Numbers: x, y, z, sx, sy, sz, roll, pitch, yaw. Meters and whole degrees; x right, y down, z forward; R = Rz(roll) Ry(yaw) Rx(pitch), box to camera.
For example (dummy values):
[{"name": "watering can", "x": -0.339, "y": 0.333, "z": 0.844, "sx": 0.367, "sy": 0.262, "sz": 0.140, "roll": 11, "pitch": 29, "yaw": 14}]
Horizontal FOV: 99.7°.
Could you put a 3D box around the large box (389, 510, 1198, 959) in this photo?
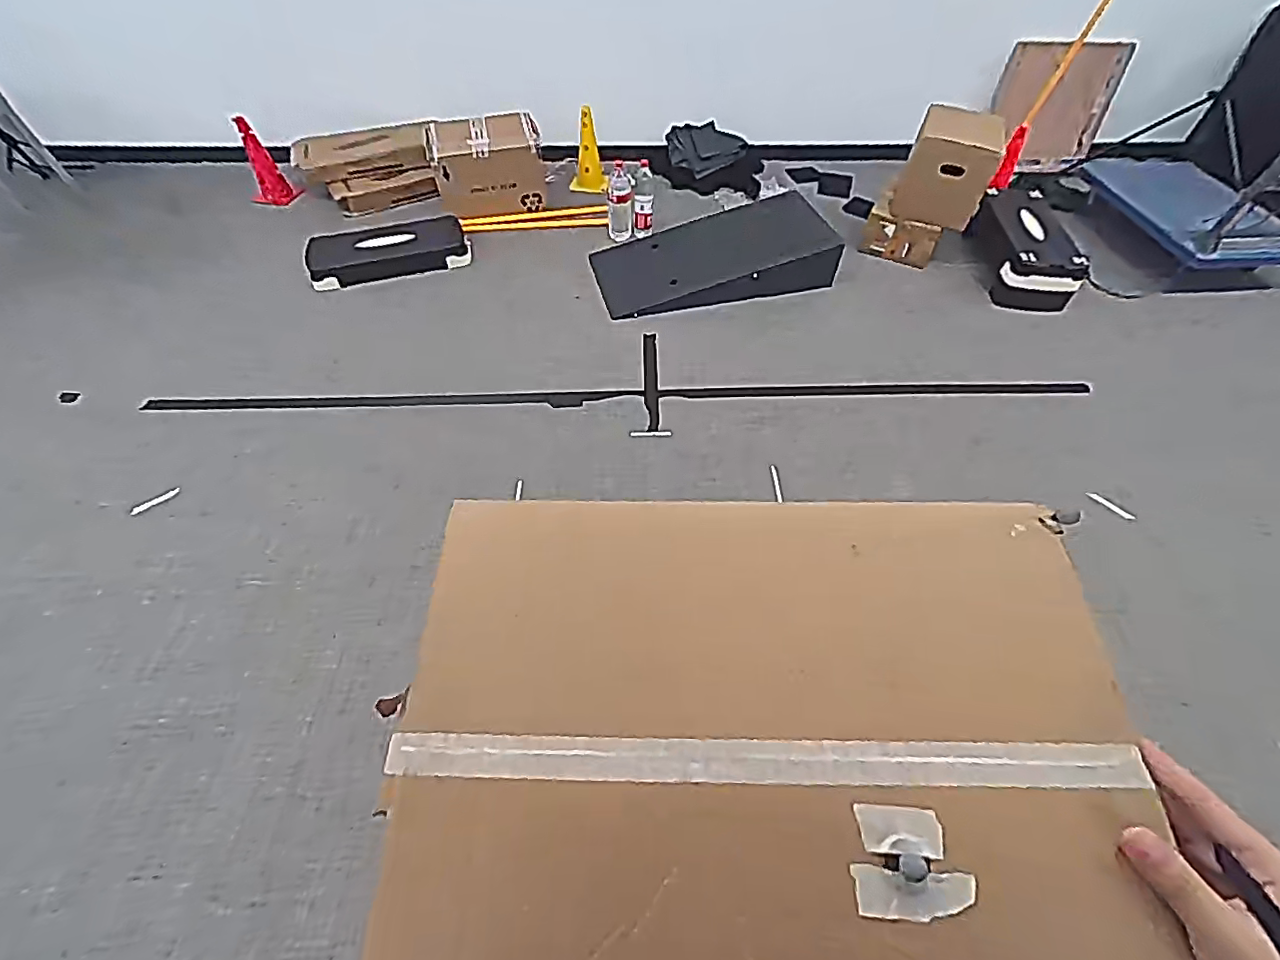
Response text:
[{"name": "large box", "x": 0.073, "y": 0.228, "z": 0.439, "sx": 0.408, "sy": 0.320, "sz": 0.320, "roll": 0, "pitch": 63, "yaw": 1}]
